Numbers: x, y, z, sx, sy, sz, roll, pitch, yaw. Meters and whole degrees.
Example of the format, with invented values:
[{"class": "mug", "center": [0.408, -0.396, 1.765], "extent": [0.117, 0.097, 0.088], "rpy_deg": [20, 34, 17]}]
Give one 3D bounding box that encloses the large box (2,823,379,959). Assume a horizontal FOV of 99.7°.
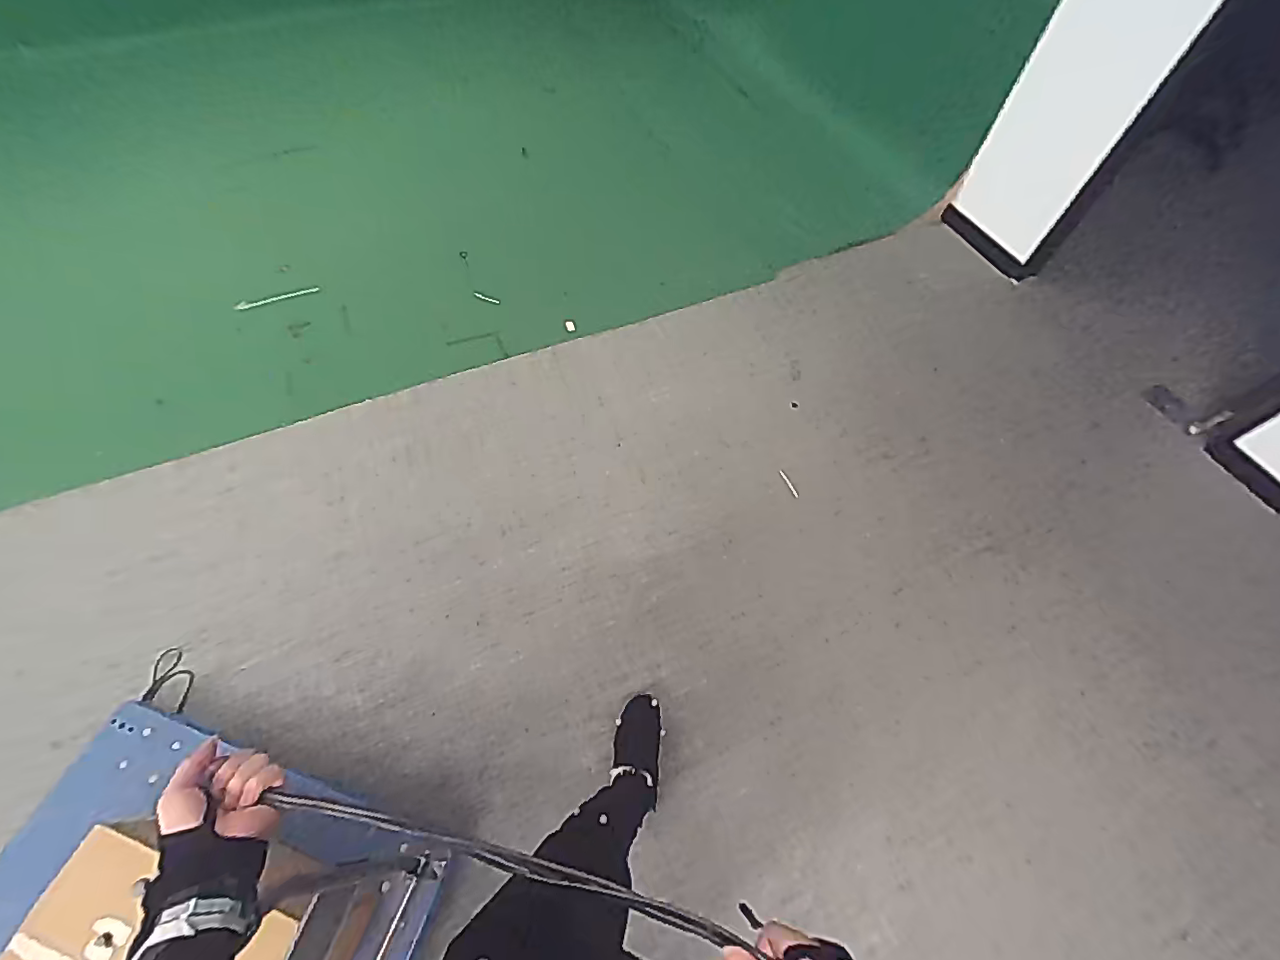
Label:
[{"class": "large box", "center": [-0.744, 0.821, 0.904], "extent": [0.408, 0.320, 0.320], "rpy_deg": [17, 60, 9]}]
